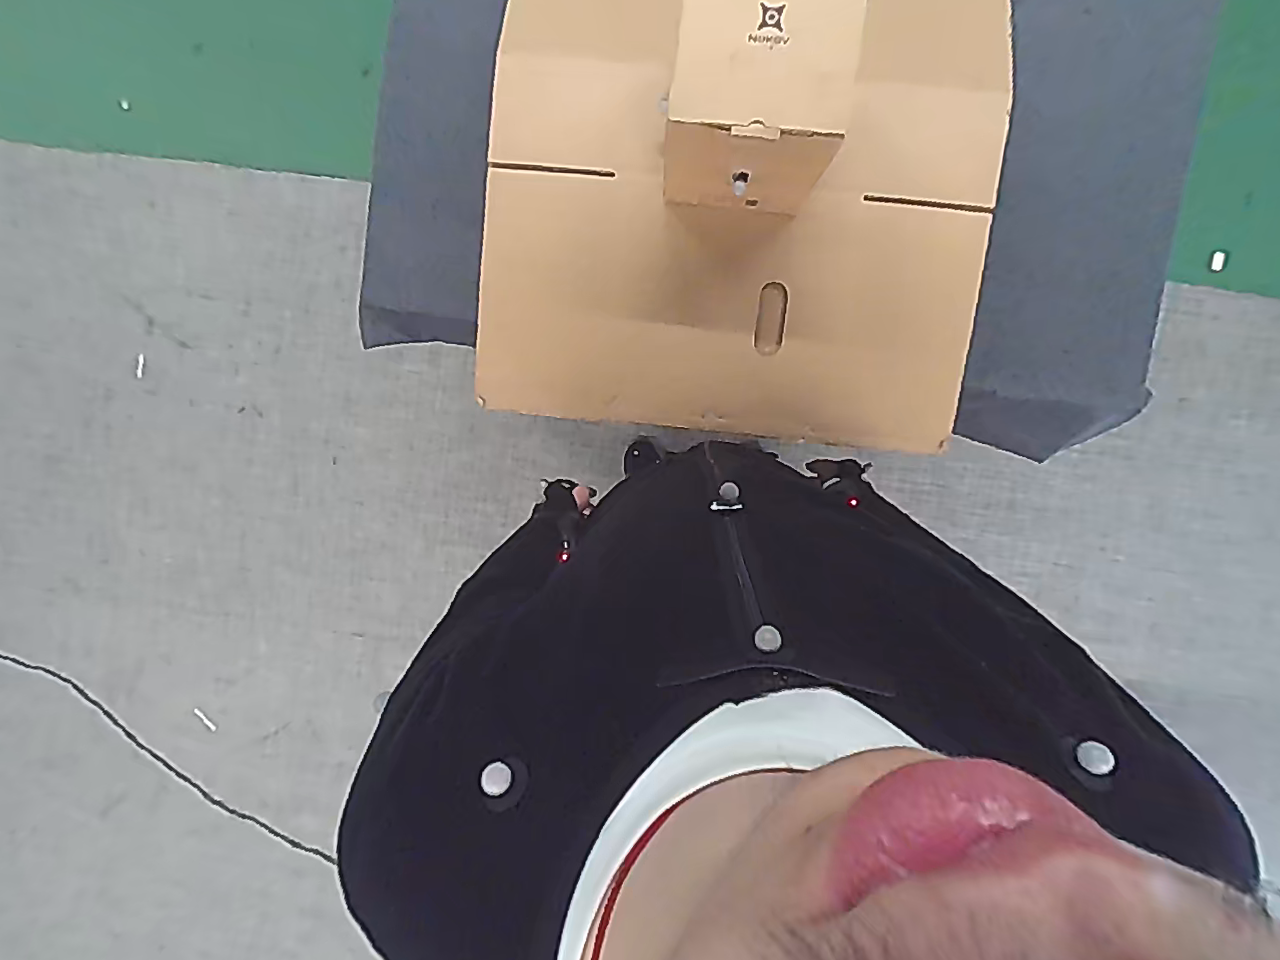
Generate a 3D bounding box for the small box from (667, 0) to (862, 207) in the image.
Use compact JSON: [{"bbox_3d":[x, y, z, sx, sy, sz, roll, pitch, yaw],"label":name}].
[{"bbox_3d":[0.118,-0.408,0.565,0.168,0.176,0.179,5,94,2],"label":"small box"}]
